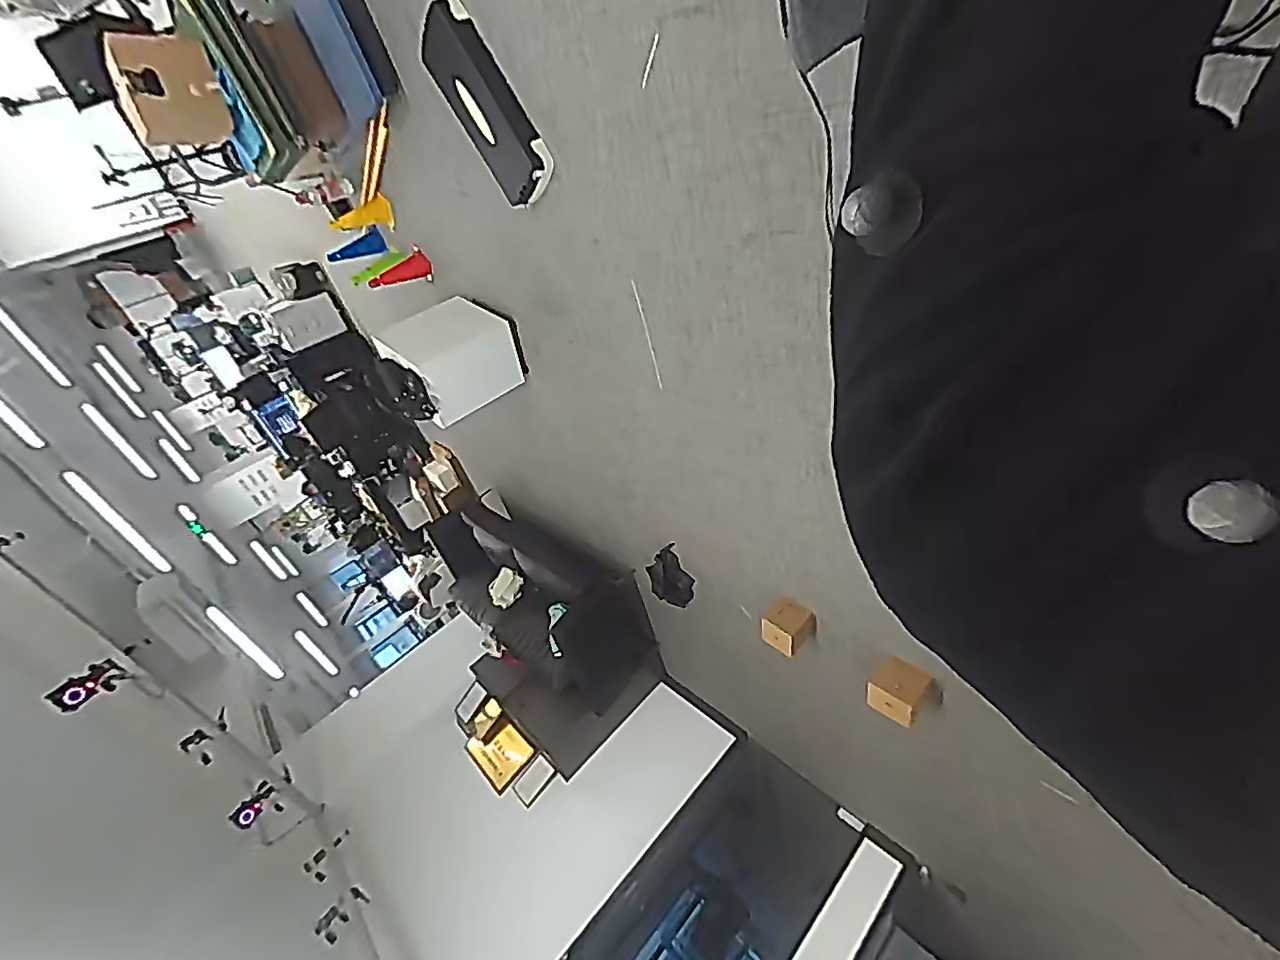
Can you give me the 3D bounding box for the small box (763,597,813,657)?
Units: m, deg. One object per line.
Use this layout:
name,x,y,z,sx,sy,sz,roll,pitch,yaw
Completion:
small box,0.692,0.682,2.528,0.168,0.176,0.179,29,145,40

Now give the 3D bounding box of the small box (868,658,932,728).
small box,1.046,0.849,2.180,0.179,0.176,0.168,24,141,42
